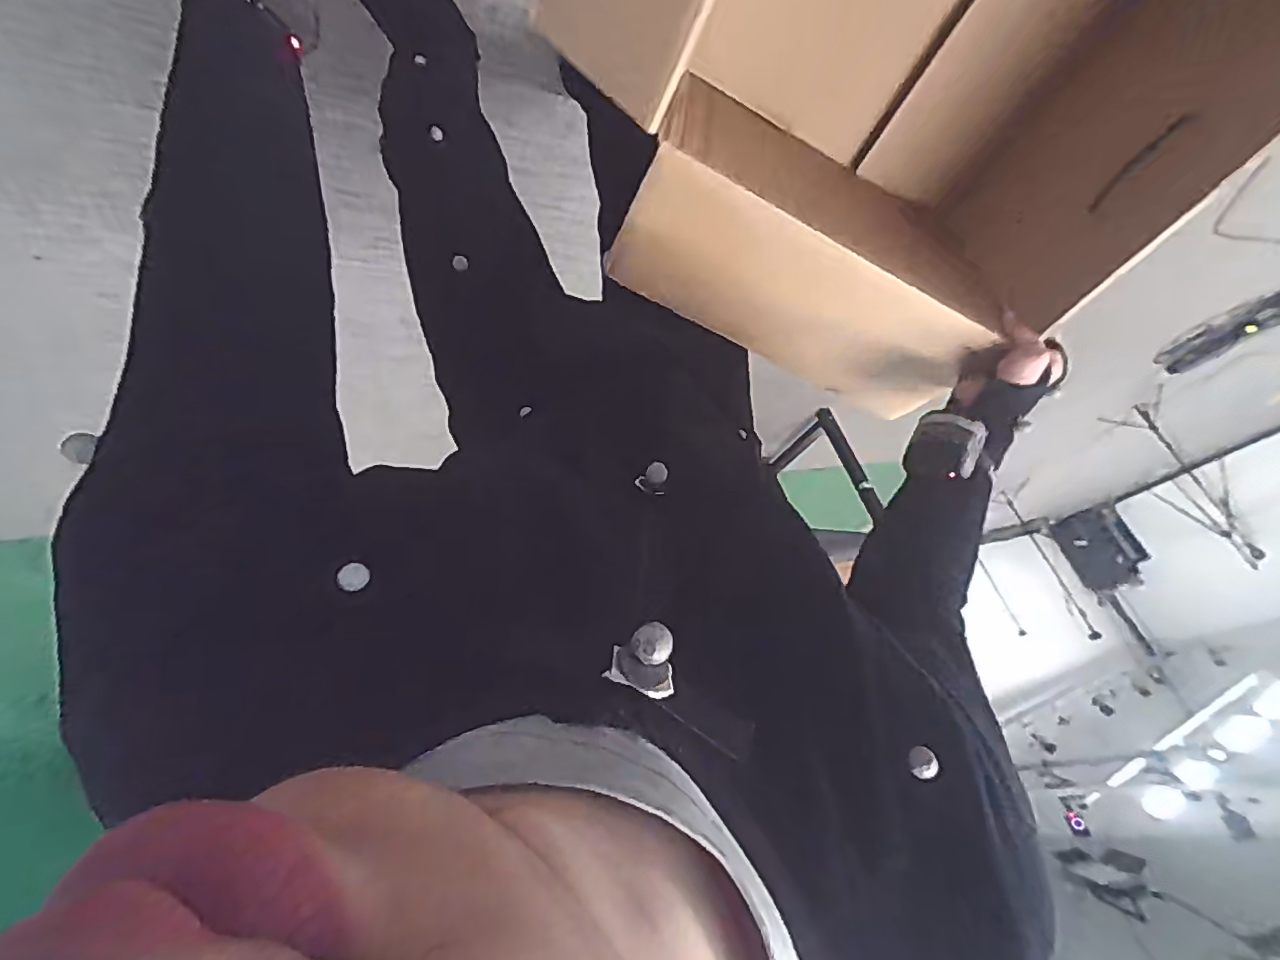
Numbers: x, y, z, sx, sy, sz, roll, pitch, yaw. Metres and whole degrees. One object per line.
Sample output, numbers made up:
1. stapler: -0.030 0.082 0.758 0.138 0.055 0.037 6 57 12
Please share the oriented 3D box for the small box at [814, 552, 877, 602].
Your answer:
1. small box: 0.900 0.424 2.393 0.168 0.176 0.179 -7 156 -20
